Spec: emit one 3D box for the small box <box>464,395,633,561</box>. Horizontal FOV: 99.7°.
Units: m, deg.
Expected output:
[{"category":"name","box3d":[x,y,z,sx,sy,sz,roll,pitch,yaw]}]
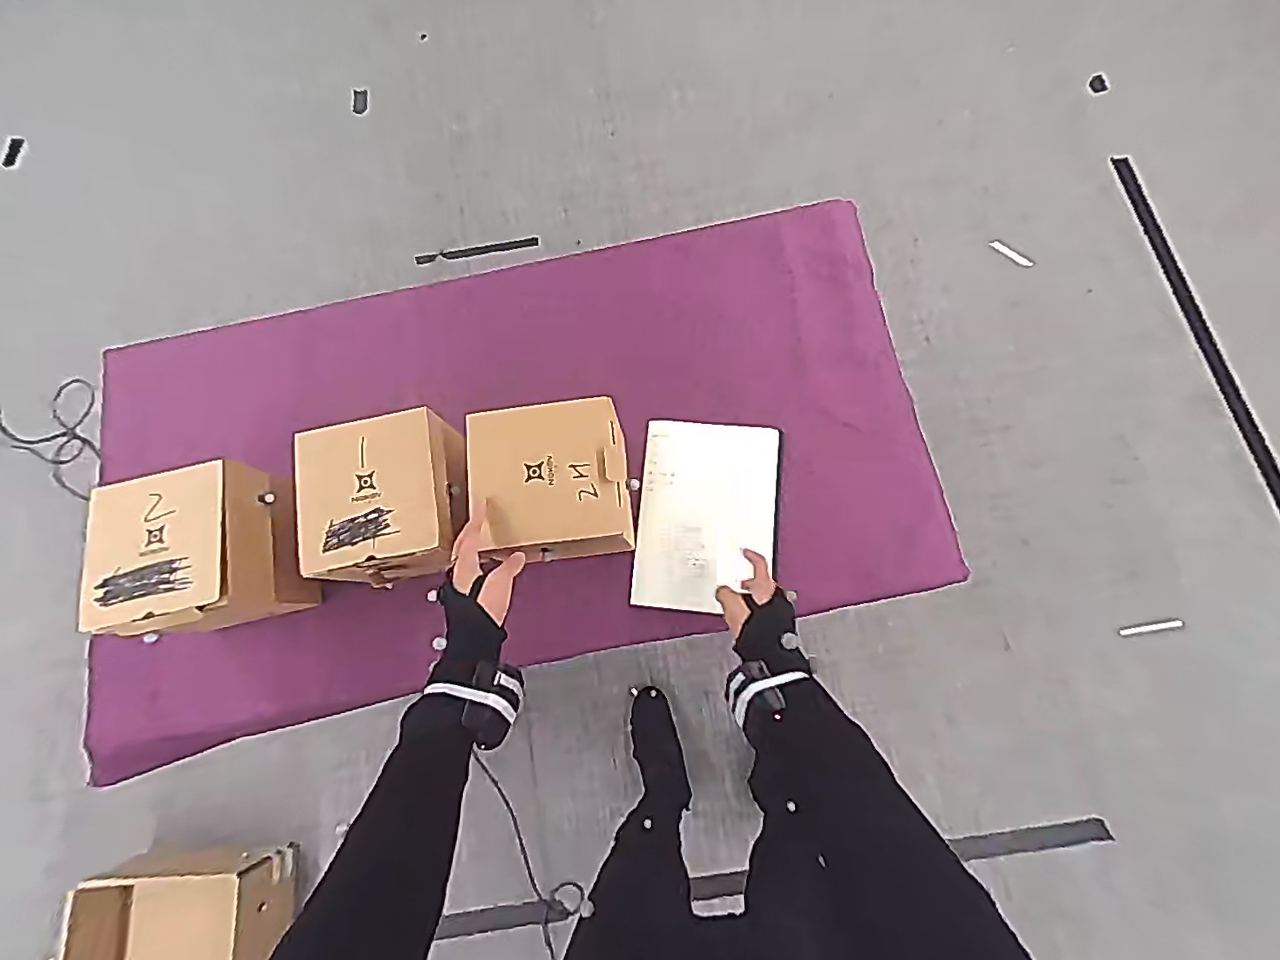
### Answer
[{"category":"small box","box3d":[-0.108,0.007,0.690,0.179,0.176,0.168,-7,76,2]}]
